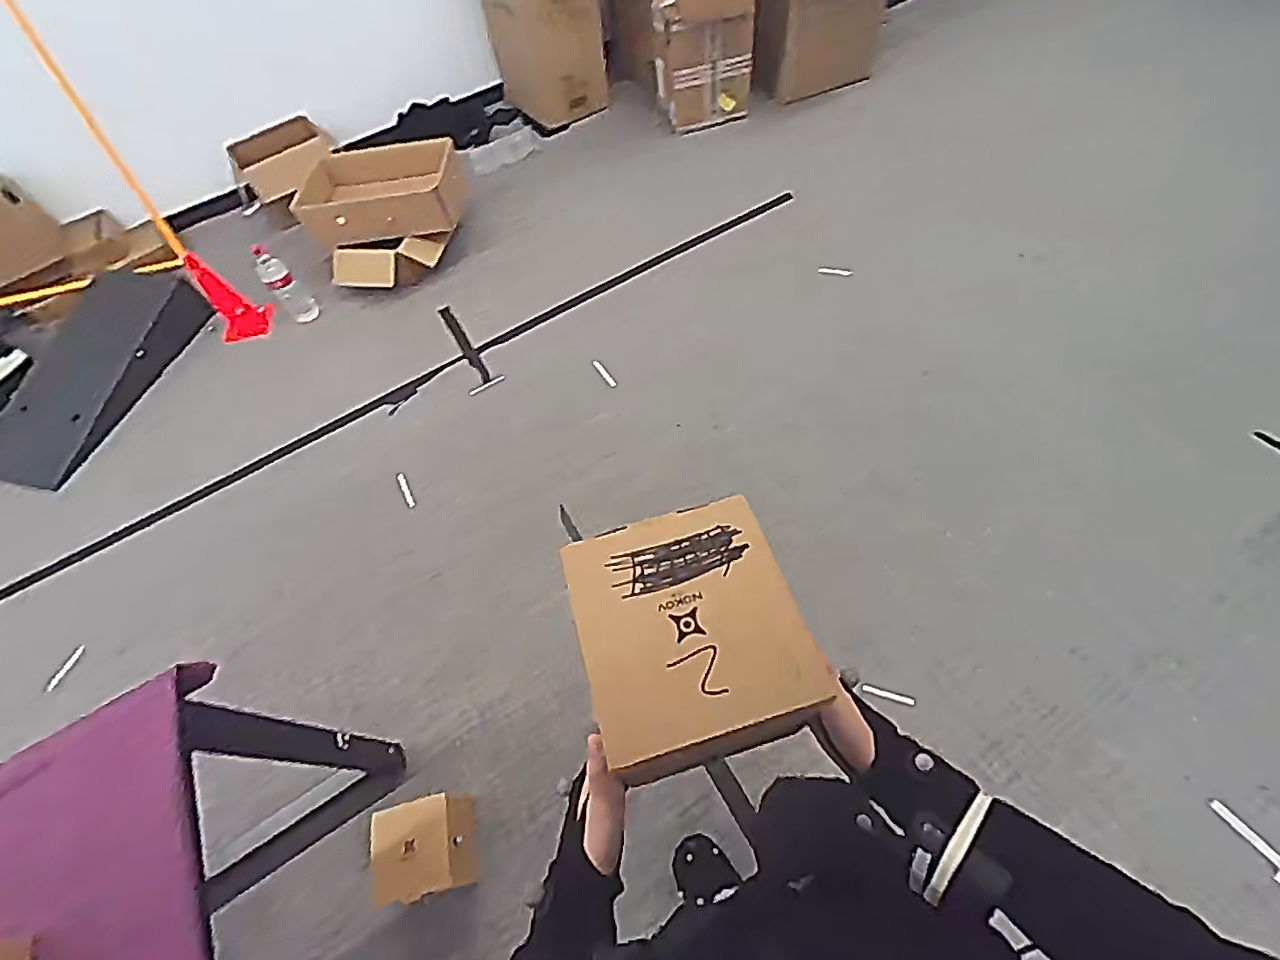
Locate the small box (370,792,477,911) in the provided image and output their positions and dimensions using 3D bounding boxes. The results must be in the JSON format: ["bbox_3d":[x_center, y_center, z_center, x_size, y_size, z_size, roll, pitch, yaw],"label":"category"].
[{"bbox_3d":[-0.471,0.811,1.192,0.168,0.176,0.179,-16,59,-3],"label":"small box"}]
